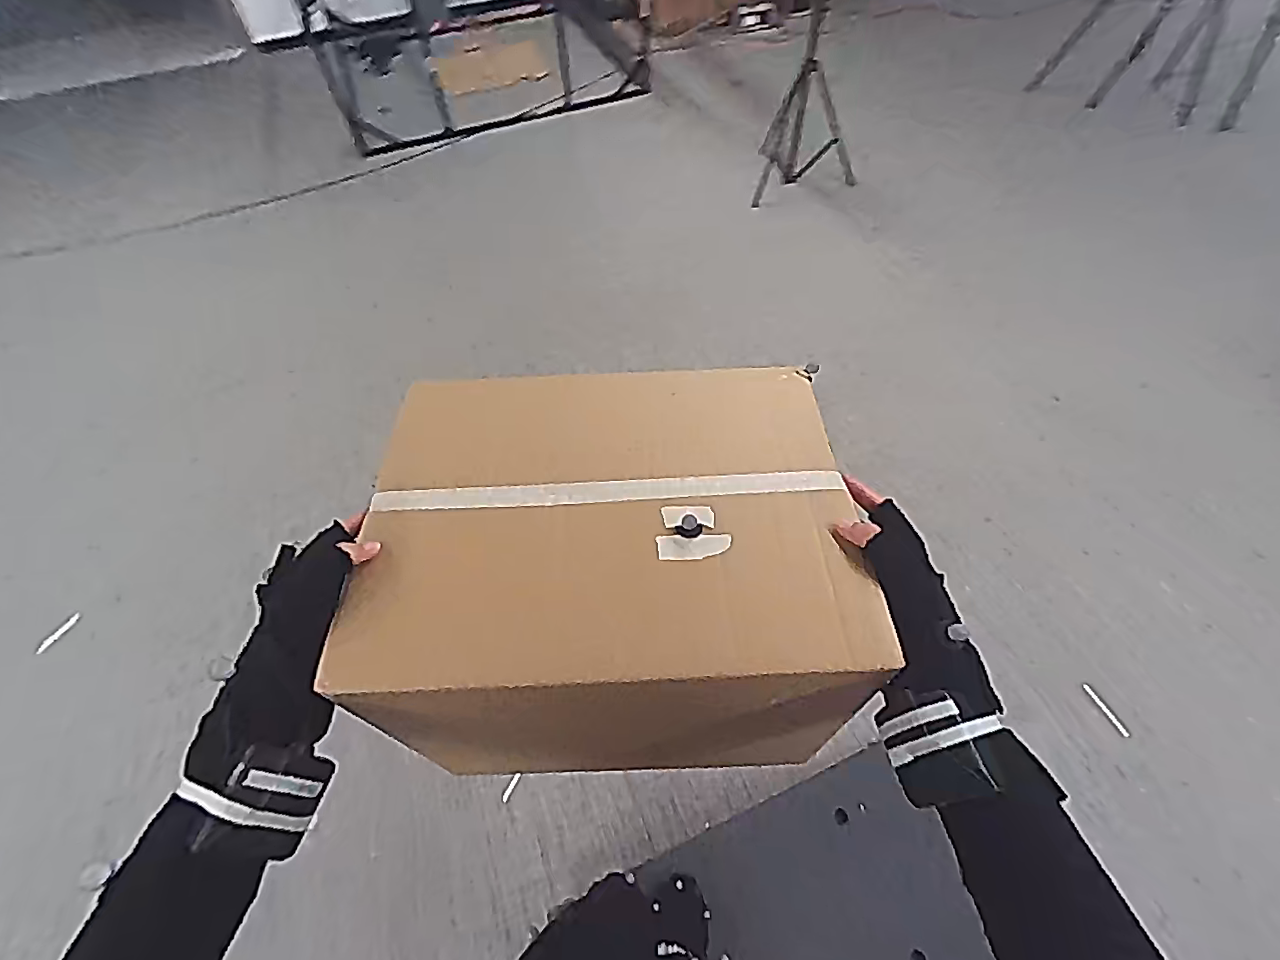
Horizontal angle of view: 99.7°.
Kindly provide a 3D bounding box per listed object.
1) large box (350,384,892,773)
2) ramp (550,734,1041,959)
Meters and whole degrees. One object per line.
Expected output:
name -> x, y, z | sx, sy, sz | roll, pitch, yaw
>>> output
large box -> -0.015, 0.116, 0.597 | 0.408, 0.320, 0.320 | -2, 52, 1
ramp -> 0.351, 0.982, 1.179 | 0.991, 0.206, 0.509 | -22, 56, -12
